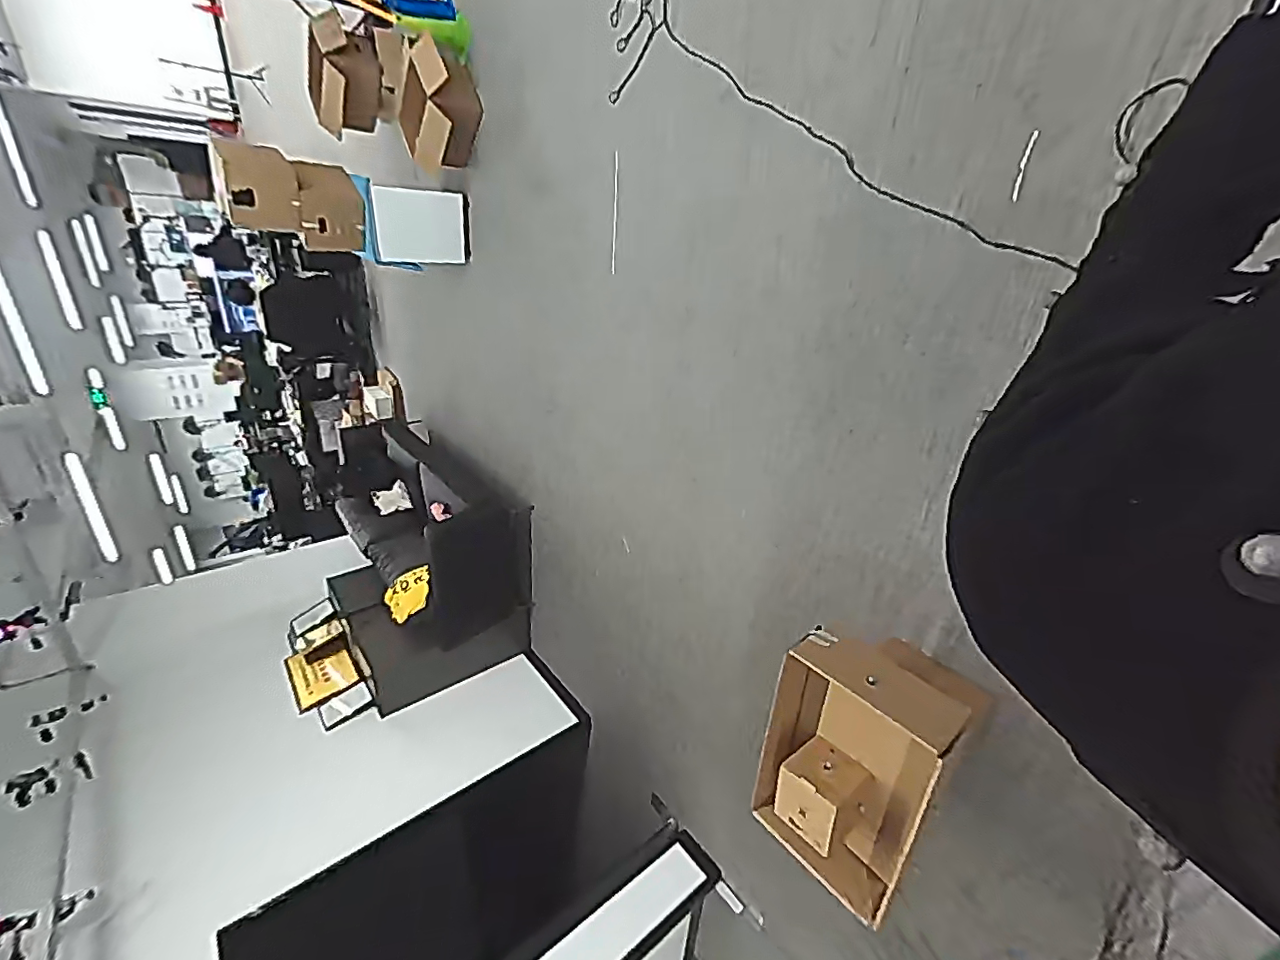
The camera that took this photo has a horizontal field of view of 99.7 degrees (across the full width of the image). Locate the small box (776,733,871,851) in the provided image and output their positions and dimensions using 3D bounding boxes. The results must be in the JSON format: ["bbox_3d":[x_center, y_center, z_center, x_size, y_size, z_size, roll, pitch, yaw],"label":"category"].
[{"bbox_3d":[0.488,0.817,1.435,0.168,0.176,0.179,25,119,46],"label":"small box"}]
